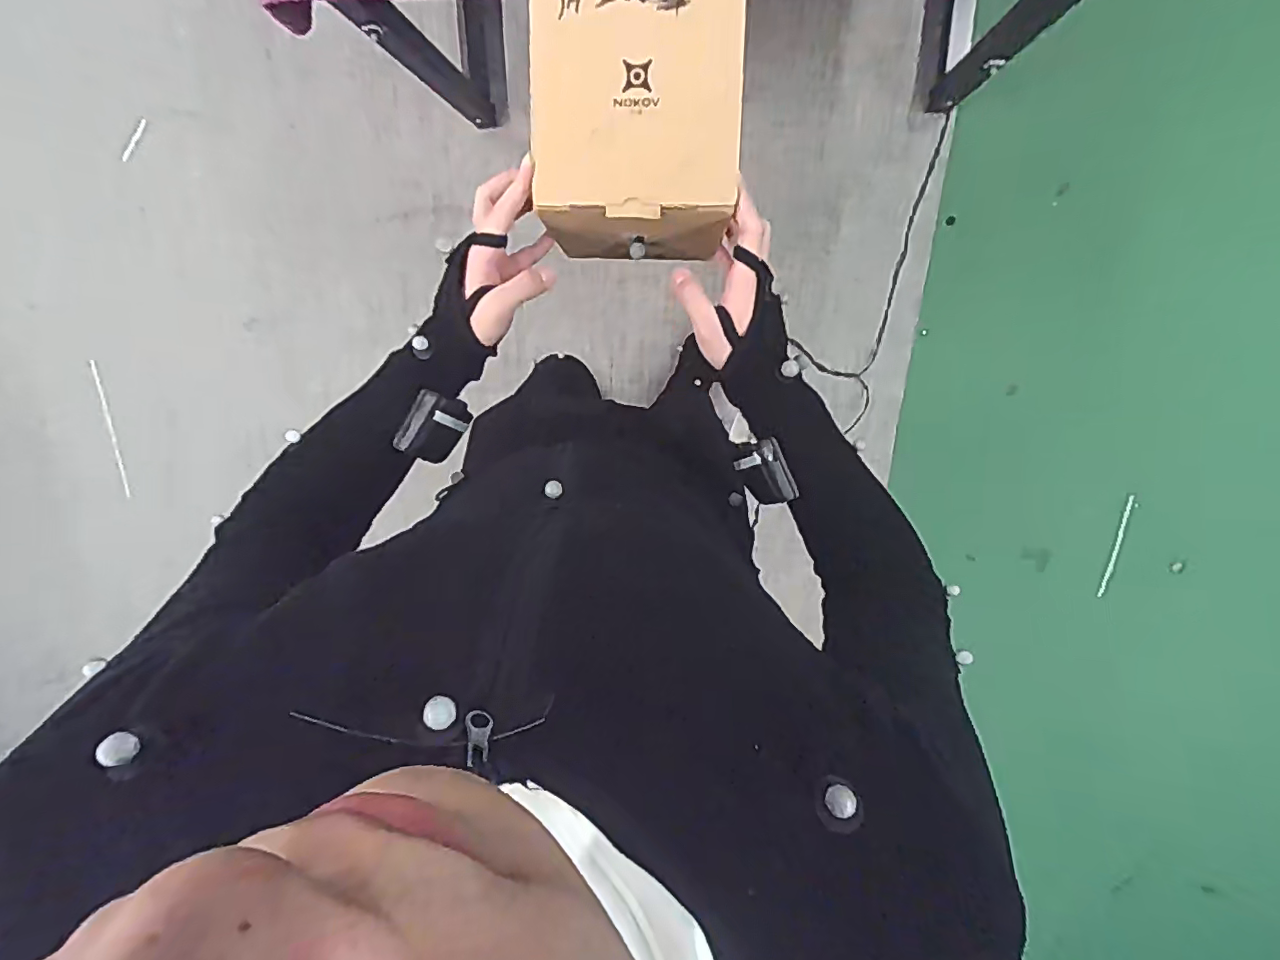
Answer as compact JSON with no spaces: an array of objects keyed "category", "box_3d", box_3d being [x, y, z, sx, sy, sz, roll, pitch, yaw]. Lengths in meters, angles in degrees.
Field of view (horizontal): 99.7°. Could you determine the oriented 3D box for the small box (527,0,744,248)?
[{"category":"small box","box_3d":[-0.002,-0.319,0.493,0.168,0.176,0.179,1,100,2]}]
